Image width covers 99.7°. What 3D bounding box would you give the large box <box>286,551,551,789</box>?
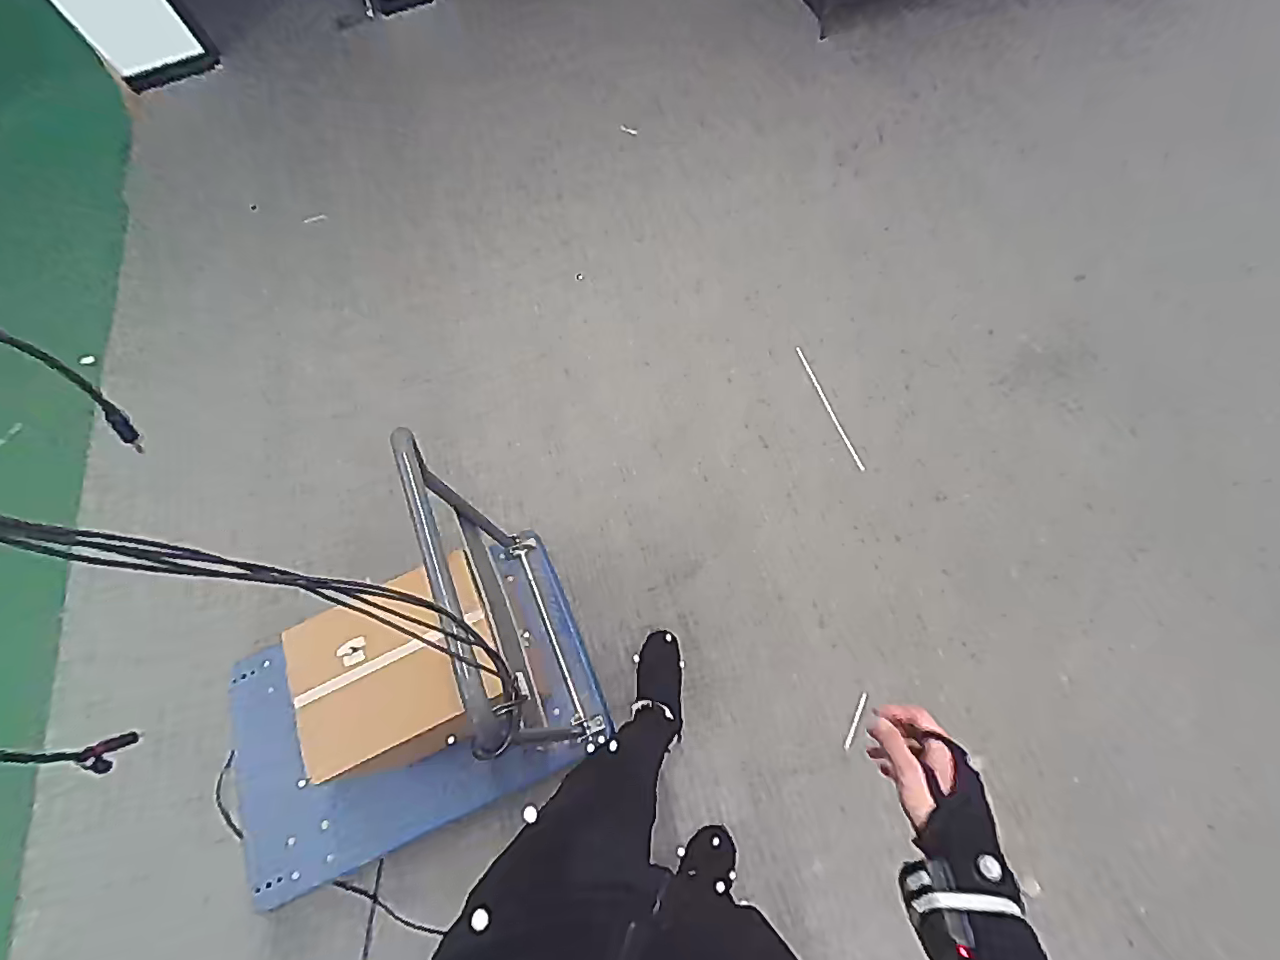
[{"bbox_3d":[-0.465,0.410,1.195,0.408,0.320,0.320,-26,66,-4],"label":"large box"}]
